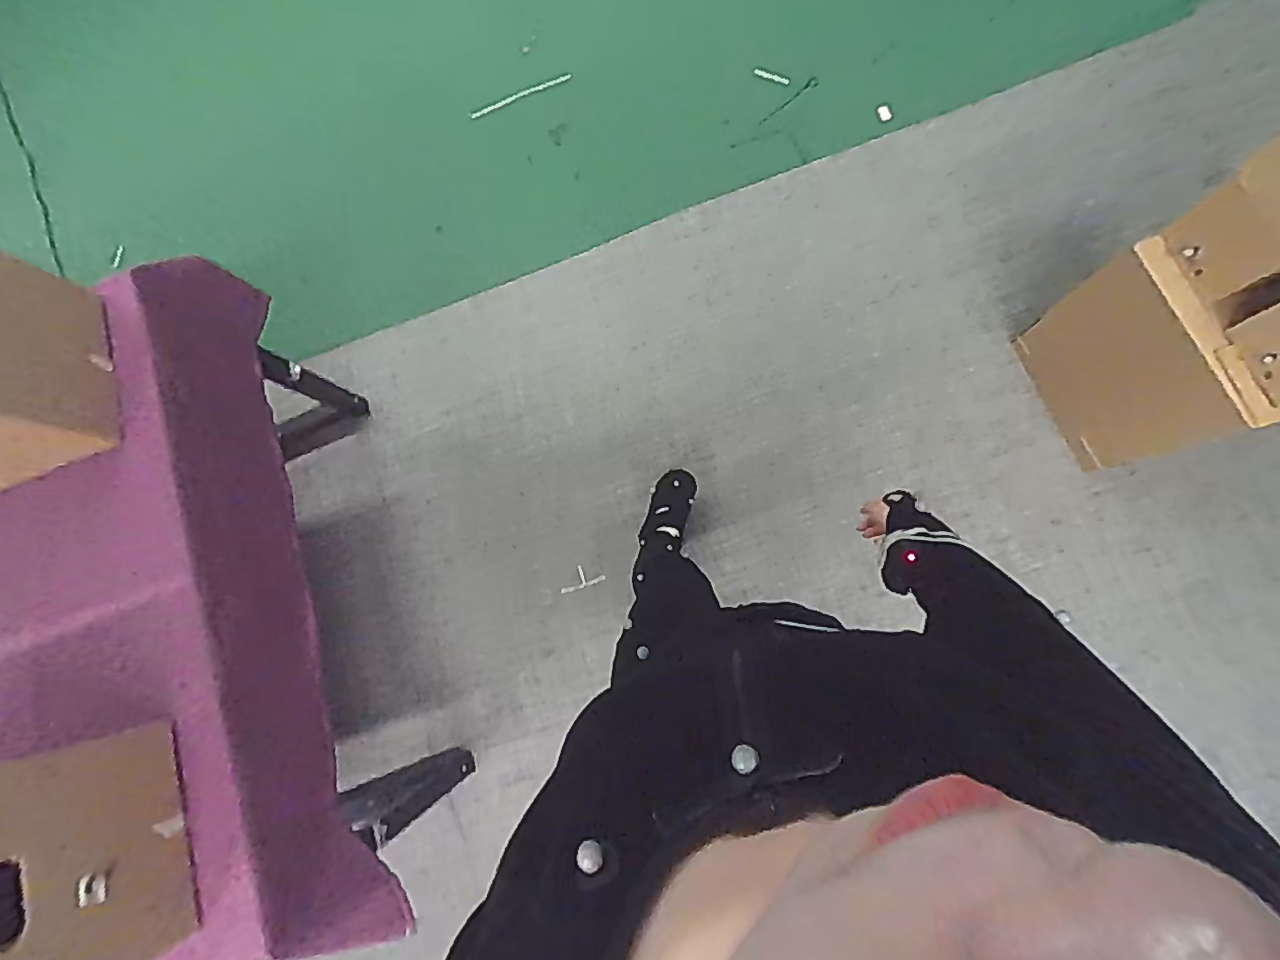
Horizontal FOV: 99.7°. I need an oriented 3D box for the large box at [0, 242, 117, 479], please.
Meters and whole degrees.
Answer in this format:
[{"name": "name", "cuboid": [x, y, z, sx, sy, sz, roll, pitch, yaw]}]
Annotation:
[{"name": "large box", "cuboid": [-1.168, -0.179, 0.846, 0.408, 0.320, 0.320, -20, 78, 3]}]
